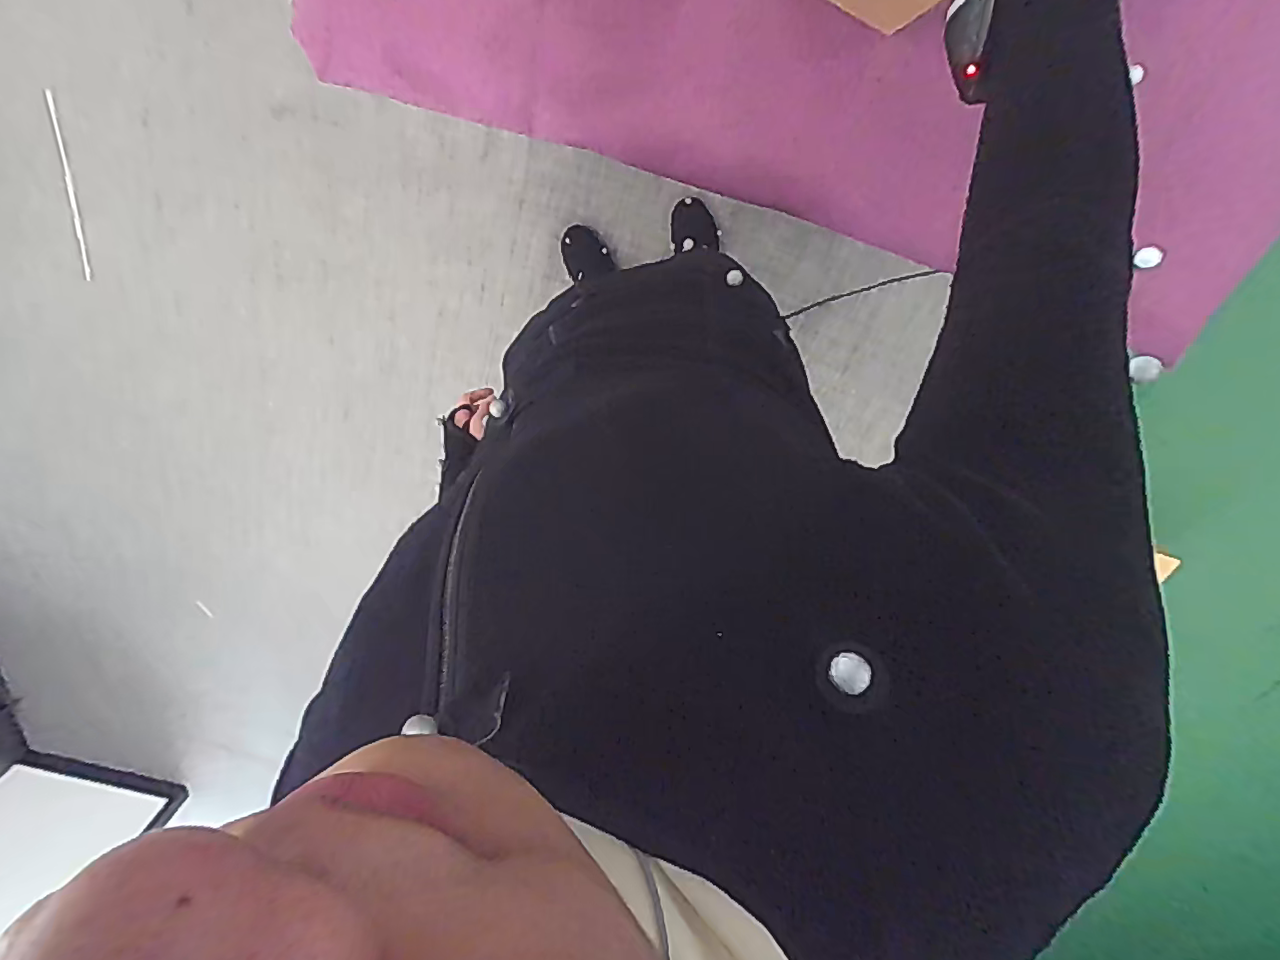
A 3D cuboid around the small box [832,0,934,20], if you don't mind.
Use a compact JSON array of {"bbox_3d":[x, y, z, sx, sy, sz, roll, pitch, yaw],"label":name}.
[{"bbox_3d":[0.230,-0.562,0.491,0.179,0.176,0.168,24,119,-6],"label":"small box"}]
